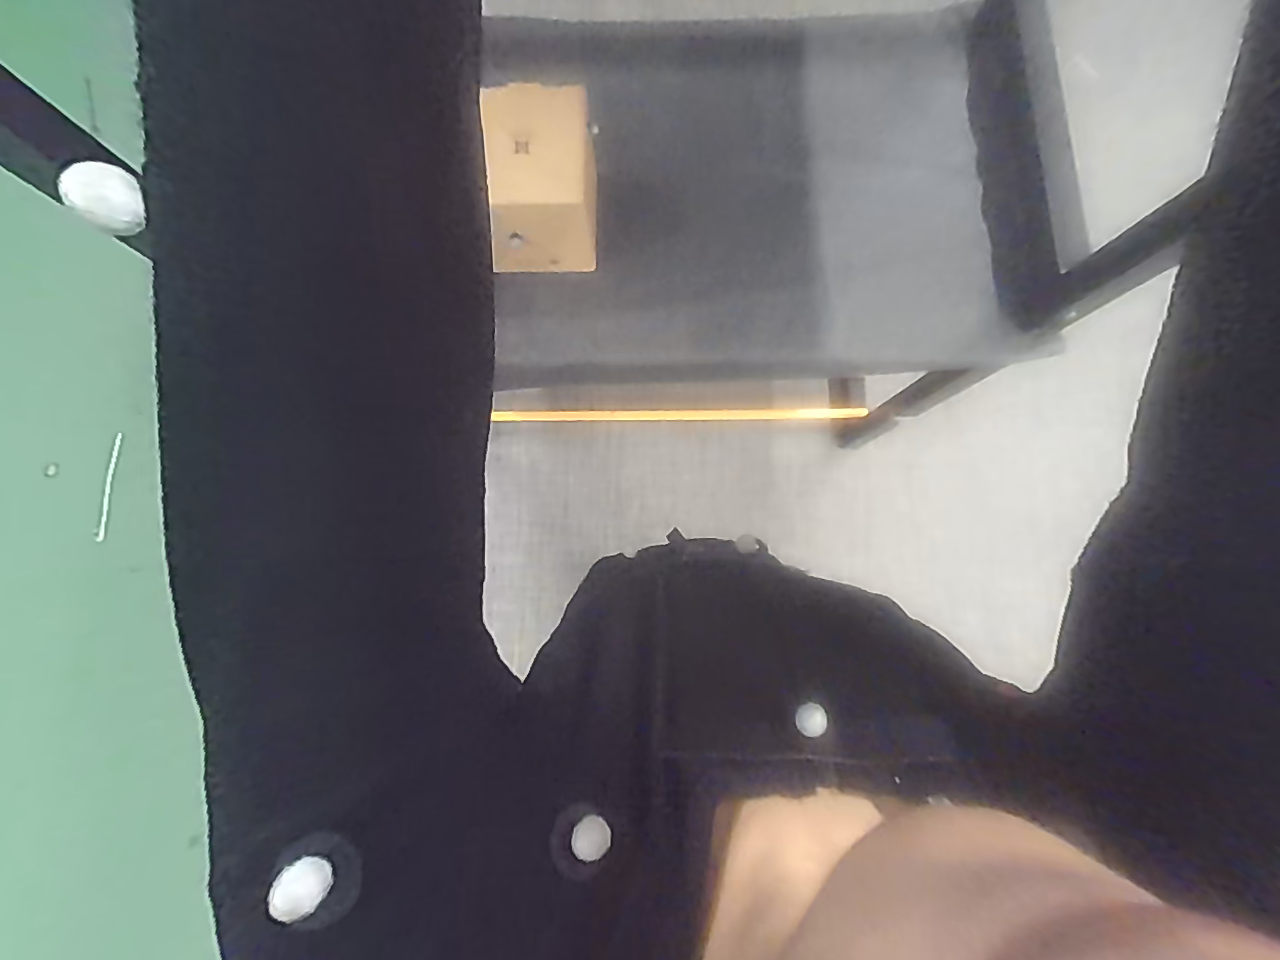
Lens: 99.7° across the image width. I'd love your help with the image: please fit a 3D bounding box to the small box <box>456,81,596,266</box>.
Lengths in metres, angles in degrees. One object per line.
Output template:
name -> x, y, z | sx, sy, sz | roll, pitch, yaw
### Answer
small box -> -0.153, -0.427, 0.779 | 0.168, 0.176, 0.179 | 0, 80, 0
